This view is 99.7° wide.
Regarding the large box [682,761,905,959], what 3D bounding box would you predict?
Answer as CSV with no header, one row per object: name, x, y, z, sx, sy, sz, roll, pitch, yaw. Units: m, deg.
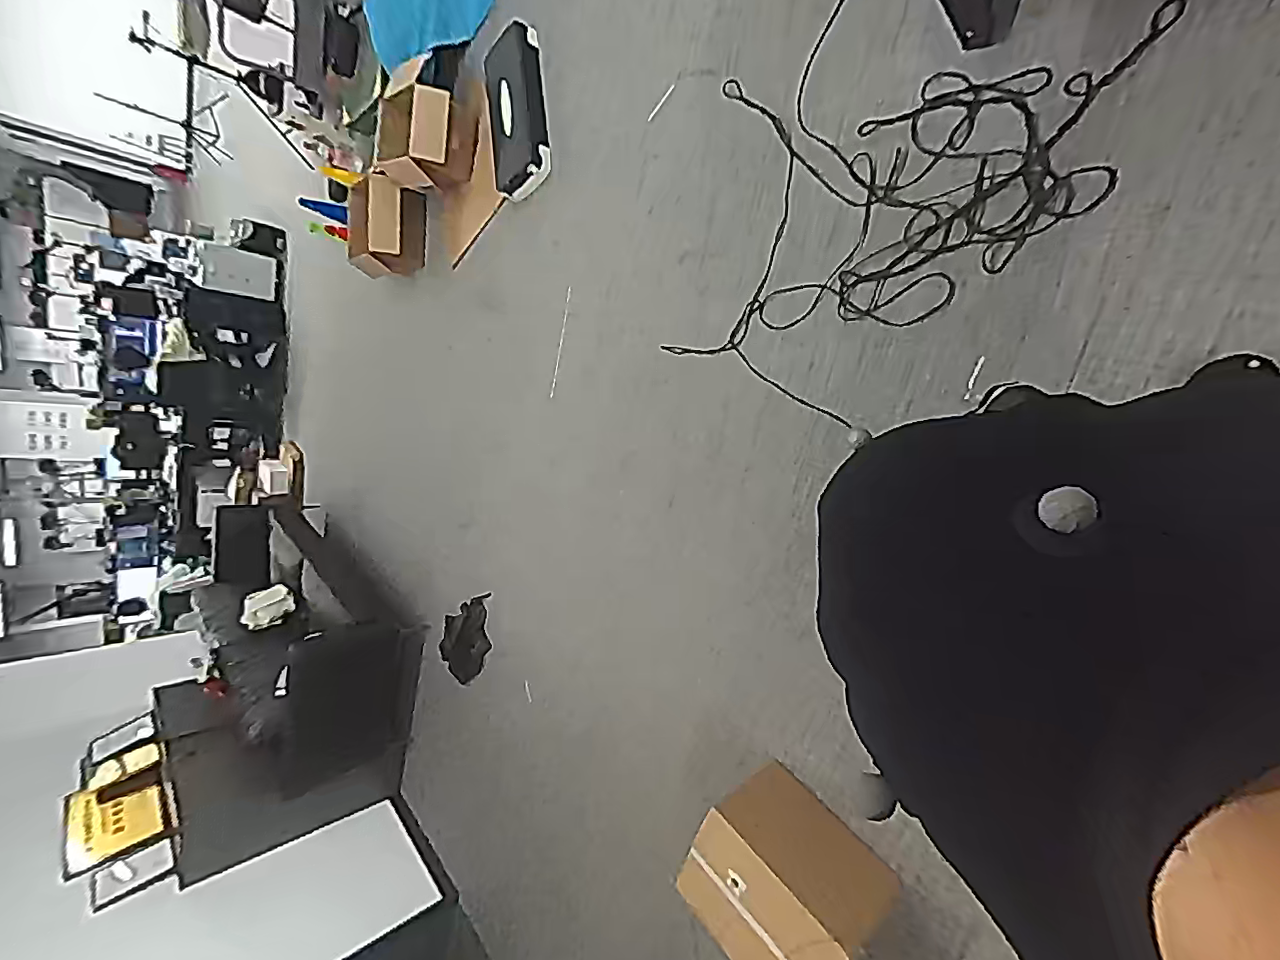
large box,0.388,1.040,1.404,0.408,0.320,0.320,35,114,40
